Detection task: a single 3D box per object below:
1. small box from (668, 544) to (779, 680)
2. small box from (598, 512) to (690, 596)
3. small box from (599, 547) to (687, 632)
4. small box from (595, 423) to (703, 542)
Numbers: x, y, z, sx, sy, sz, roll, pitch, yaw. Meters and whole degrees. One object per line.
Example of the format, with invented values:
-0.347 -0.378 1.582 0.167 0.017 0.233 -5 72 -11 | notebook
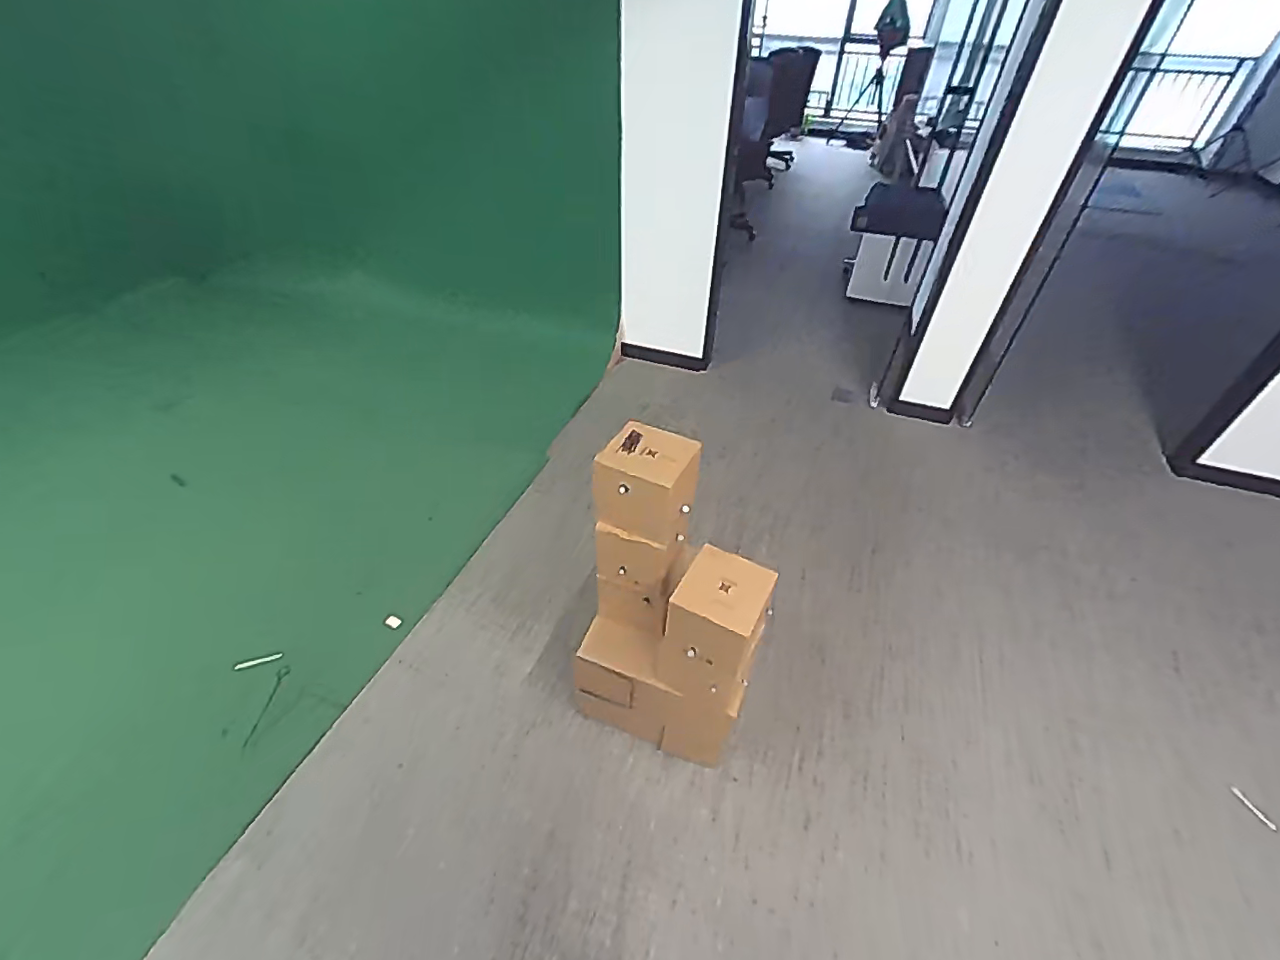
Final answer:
0.166 0.272 1.117 0.168 0.176 0.179 22 45 20 | small box
0.009 0.137 1.267 0.168 0.176 0.179 16 43 15 | small box
0.008 0.261 1.373 0.179 0.176 0.168 15 41 14 | small box
0.017 0.007 1.166 0.179 0.176 0.168 20 44 18 | small box
